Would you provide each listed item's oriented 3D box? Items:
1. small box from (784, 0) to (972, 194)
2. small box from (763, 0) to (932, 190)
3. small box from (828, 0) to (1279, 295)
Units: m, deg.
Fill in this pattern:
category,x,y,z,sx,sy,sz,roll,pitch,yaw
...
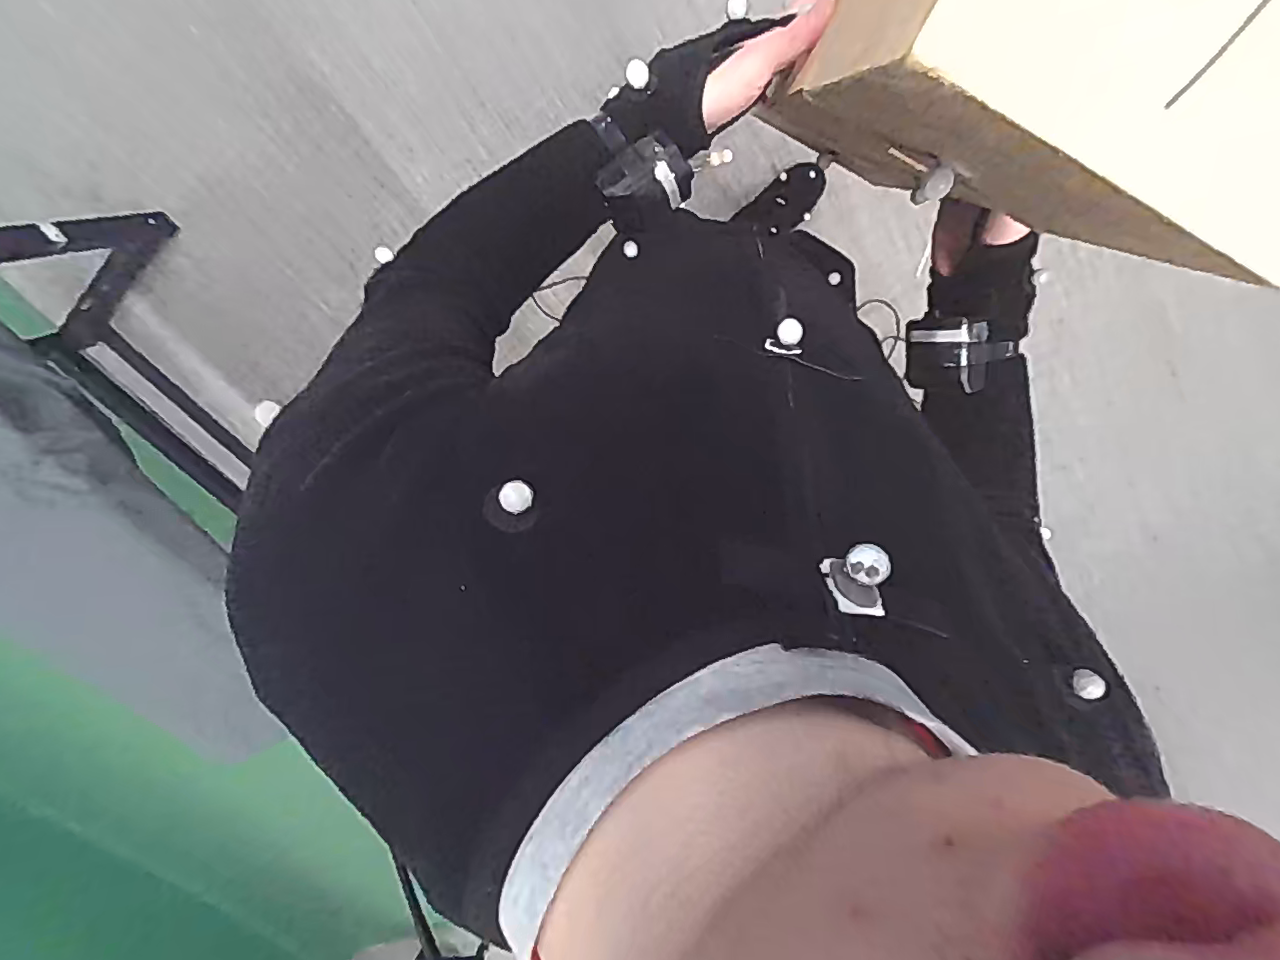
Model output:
category,x,y,z,sx,sy,sz,roll,pitch,yaw
small box,0.205,-0.294,0.332,0.168,0.176,0.179,22,120,-9
small box,0.221,-0.383,0.467,0.168,0.176,0.179,24,121,-9
small box,0.194,-0.202,0.196,0.168,0.176,0.179,23,122,-10
